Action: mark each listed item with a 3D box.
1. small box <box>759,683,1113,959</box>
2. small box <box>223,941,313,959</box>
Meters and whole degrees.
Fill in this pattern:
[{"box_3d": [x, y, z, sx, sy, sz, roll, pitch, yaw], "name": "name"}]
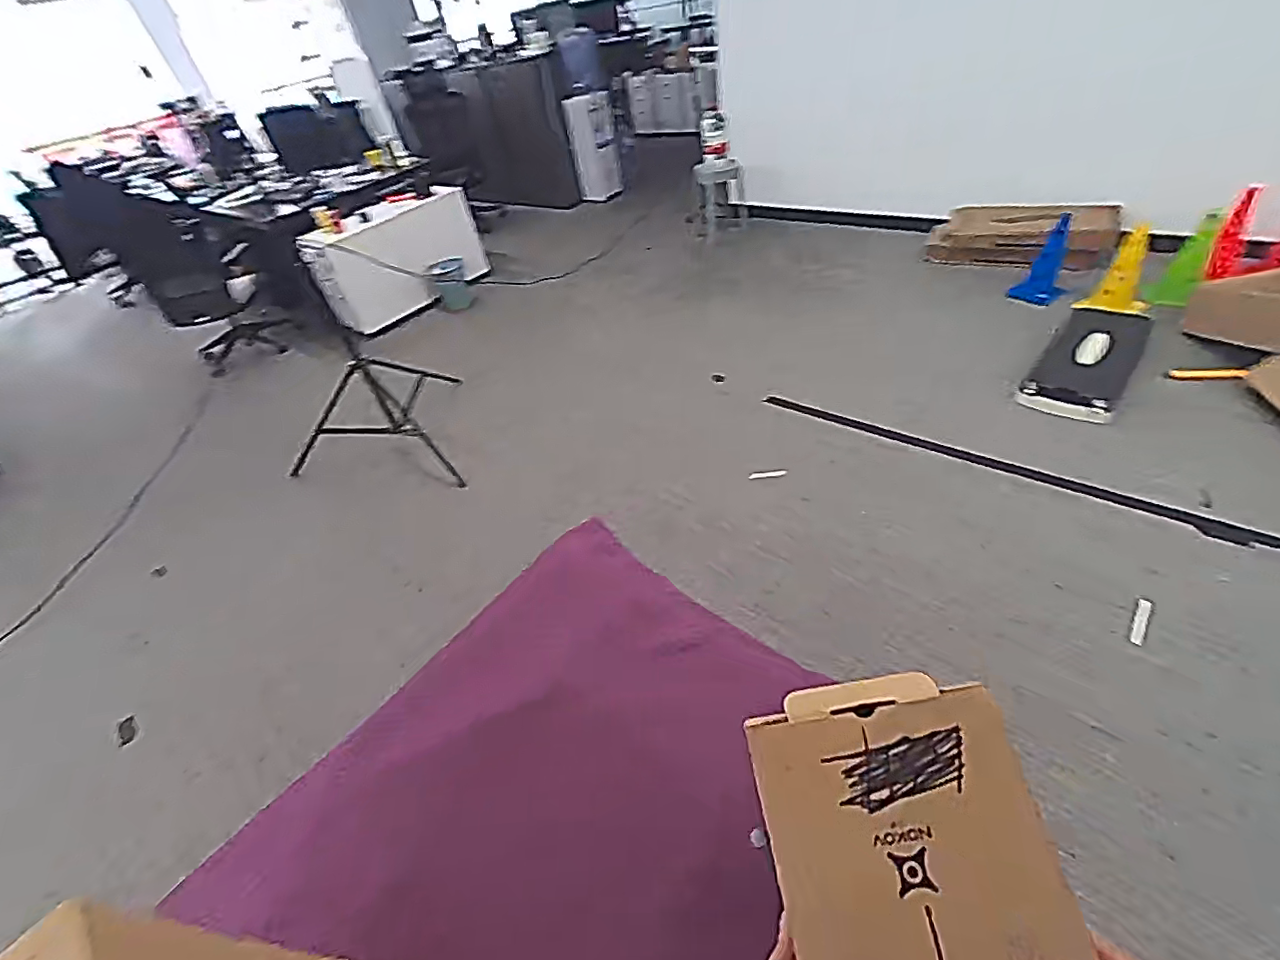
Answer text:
[{"box_3d": [0.187, 0.260, 0.403, 0.168, 0.176, 0.179, -12, 65, 7], "name": "small box"}, {"box_3d": [-0.300, 0.508, 0.402, 0.168, 0.176, 0.179, 24, 53, 34], "name": "small box"}]
